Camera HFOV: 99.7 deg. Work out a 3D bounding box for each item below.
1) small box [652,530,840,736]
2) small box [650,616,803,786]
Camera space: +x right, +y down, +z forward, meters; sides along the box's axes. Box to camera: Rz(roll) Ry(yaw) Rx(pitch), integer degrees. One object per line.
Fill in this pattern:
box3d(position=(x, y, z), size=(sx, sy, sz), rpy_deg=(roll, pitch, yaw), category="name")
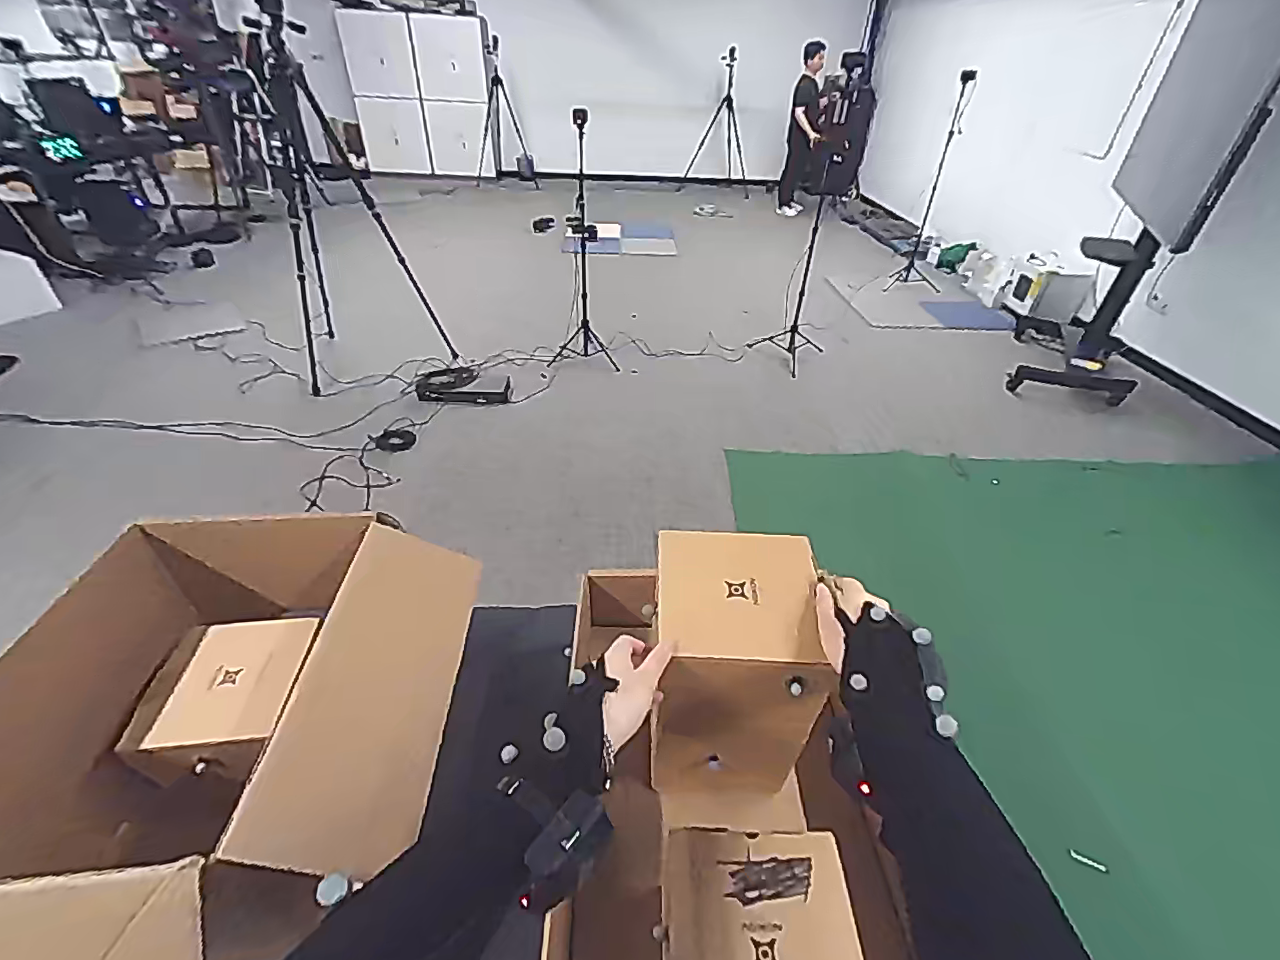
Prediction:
box3d(position=(0.104, 0.176, 0.622), size=(0.179, 0.176, 0.168), rpy_deg=(3, 41, -1), category="small box")
box3d(position=(0.103, 0.297, 0.732), size=(0.179, 0.176, 0.168), rpy_deg=(0, 42, -1), category="small box")
